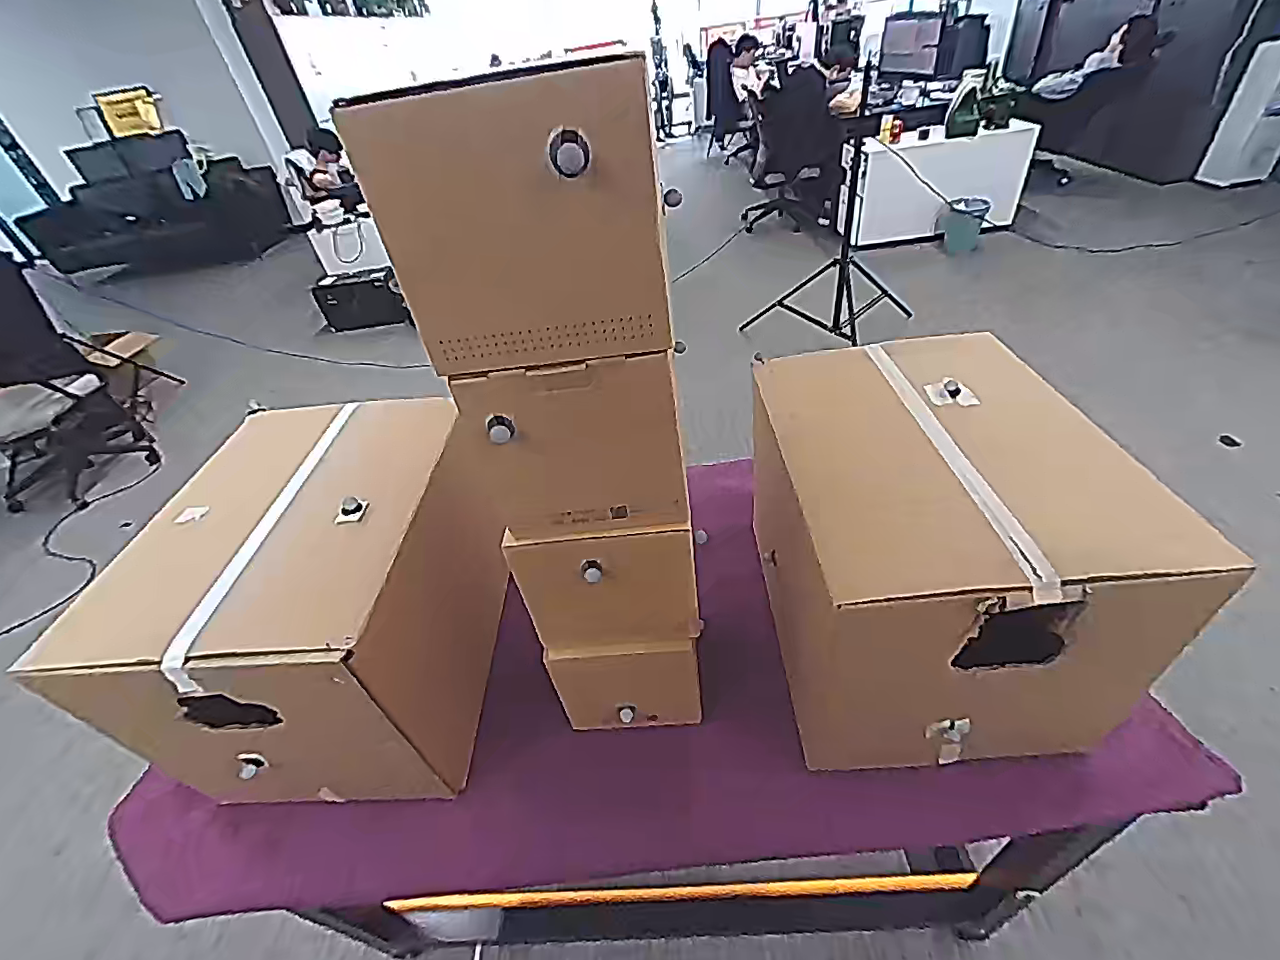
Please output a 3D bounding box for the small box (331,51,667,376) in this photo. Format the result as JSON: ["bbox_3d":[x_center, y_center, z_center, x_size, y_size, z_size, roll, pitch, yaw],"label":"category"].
[{"bbox_3d":[-0.072,-0.194,0.398,0.179,0.176,0.168,-6,38,6],"label":"small box"}]

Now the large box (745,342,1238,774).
[{"bbox_3d":[0.319,0.077,0.660,0.320,0.320,0.408,-6,39,4],"label":"large box"}]
